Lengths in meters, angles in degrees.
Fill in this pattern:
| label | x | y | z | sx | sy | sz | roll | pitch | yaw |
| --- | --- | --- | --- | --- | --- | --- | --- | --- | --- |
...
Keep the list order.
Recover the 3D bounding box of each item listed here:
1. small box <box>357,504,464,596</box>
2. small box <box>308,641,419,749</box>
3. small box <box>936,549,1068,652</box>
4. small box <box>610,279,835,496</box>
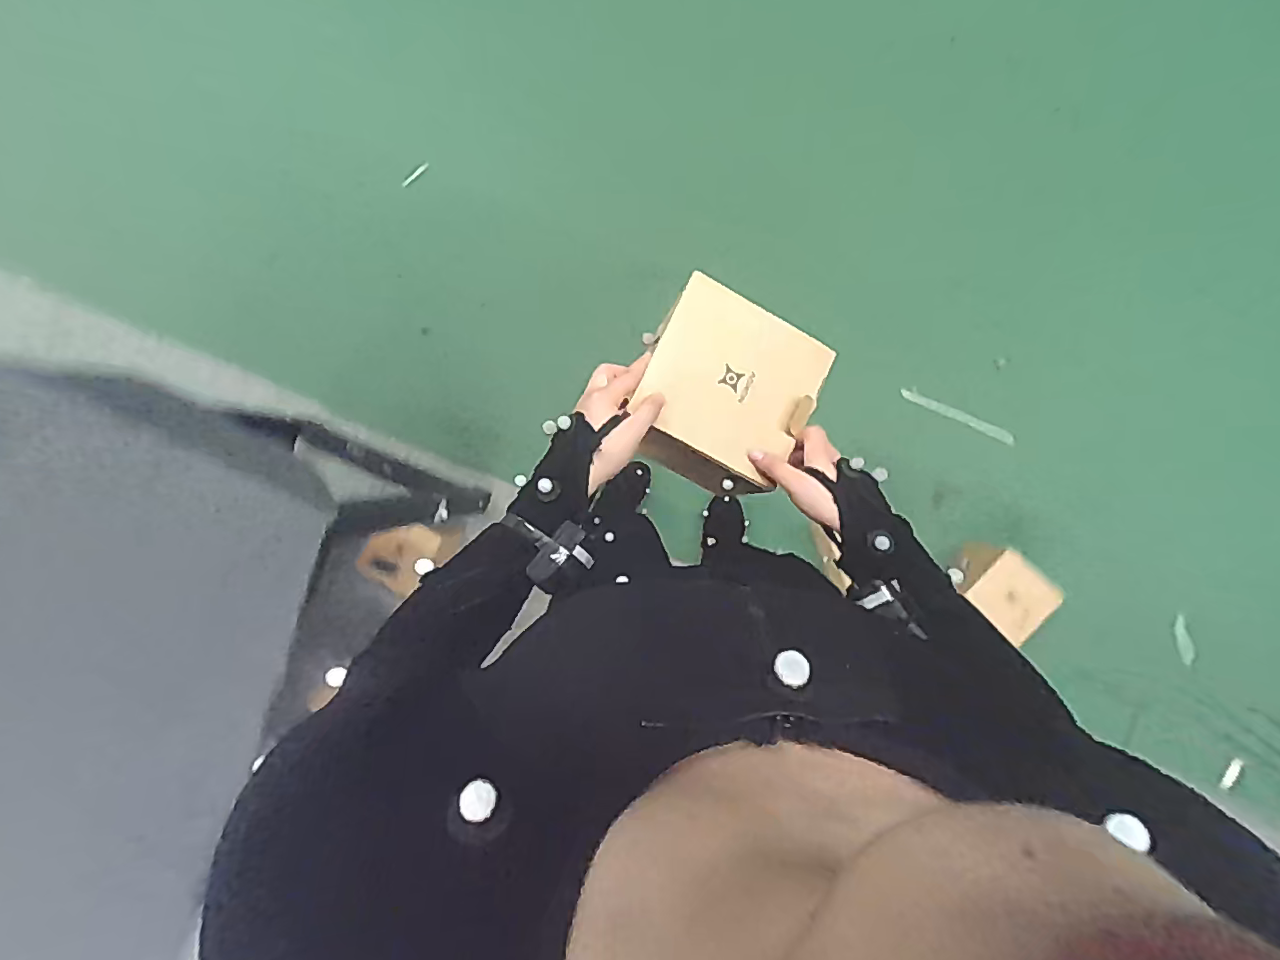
| label | x | y | z | sx | sy | sz | roll | pitch | yaw |
| --- | --- | --- | --- | --- | --- | --- | --- | --- | --- |
| small box | -0.594 | 0.177 | 1.426 | 0.168 | 0.176 | 0.179 | 29 | 92 | 2 |
| small box | -0.723 | 0.563 | 1.443 | 0.168 | 0.176 | 0.179 | 44 | 95 | 2 |
| small box | 0.882 | 0.286 | 1.339 | 0.179 | 0.176 | 0.168 | 43 | 94 | 1 |
| small box | 0.079 | -0.087 | 0.616 | 0.179 | 0.176 | 0.168 | 25 | 82 | -8 |
